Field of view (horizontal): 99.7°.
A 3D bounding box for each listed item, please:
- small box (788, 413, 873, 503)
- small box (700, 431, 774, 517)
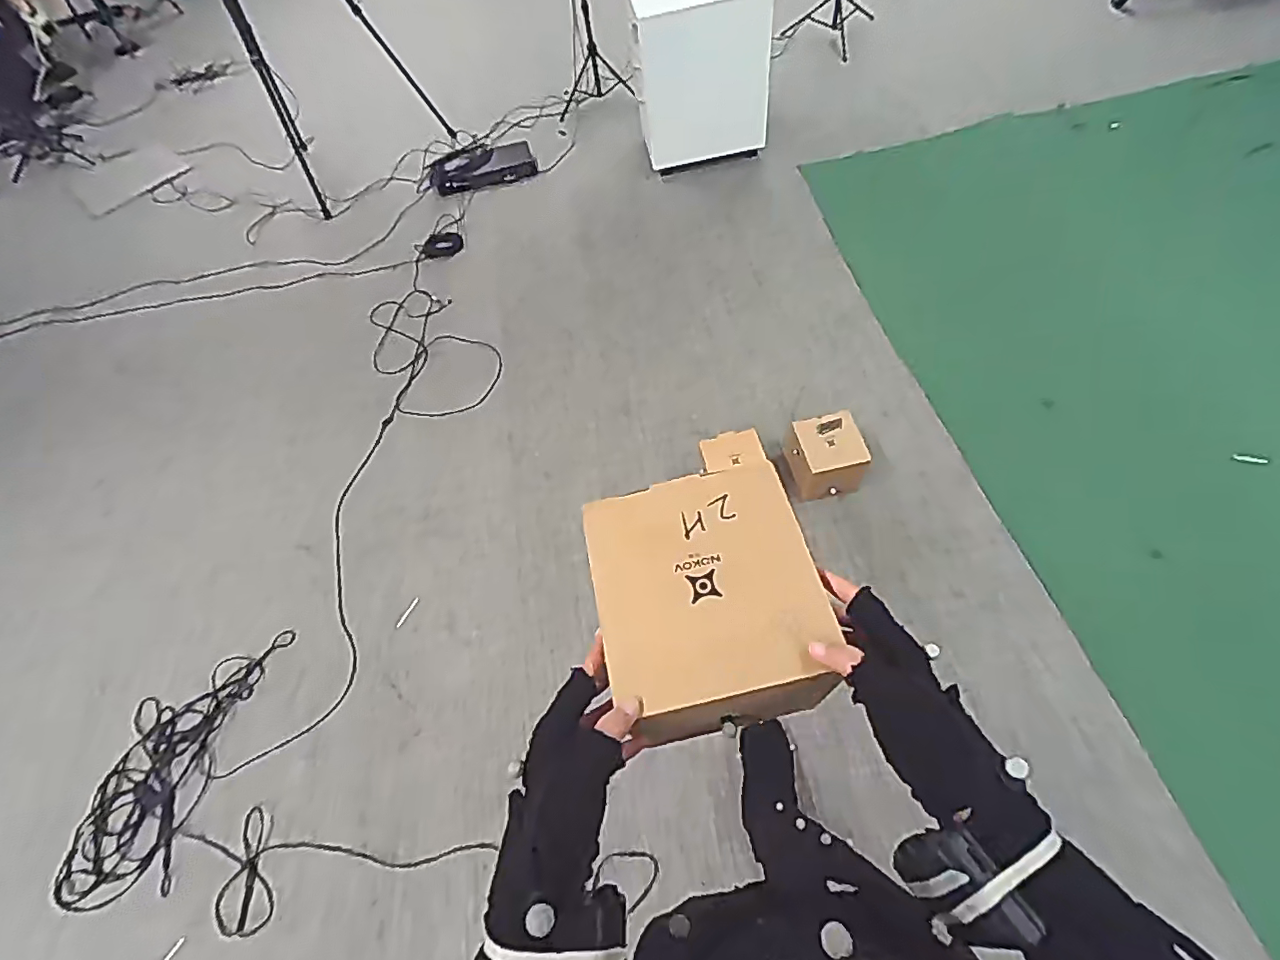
[{"bbox_3d":[0.533,-0.060,1.542,0.168,0.176,0.179,-12,60,0],"label":"small box"},{"bbox_3d":[0.275,-0.010,1.549,0.168,0.176,0.179,-13,58,0],"label":"small box"}]
